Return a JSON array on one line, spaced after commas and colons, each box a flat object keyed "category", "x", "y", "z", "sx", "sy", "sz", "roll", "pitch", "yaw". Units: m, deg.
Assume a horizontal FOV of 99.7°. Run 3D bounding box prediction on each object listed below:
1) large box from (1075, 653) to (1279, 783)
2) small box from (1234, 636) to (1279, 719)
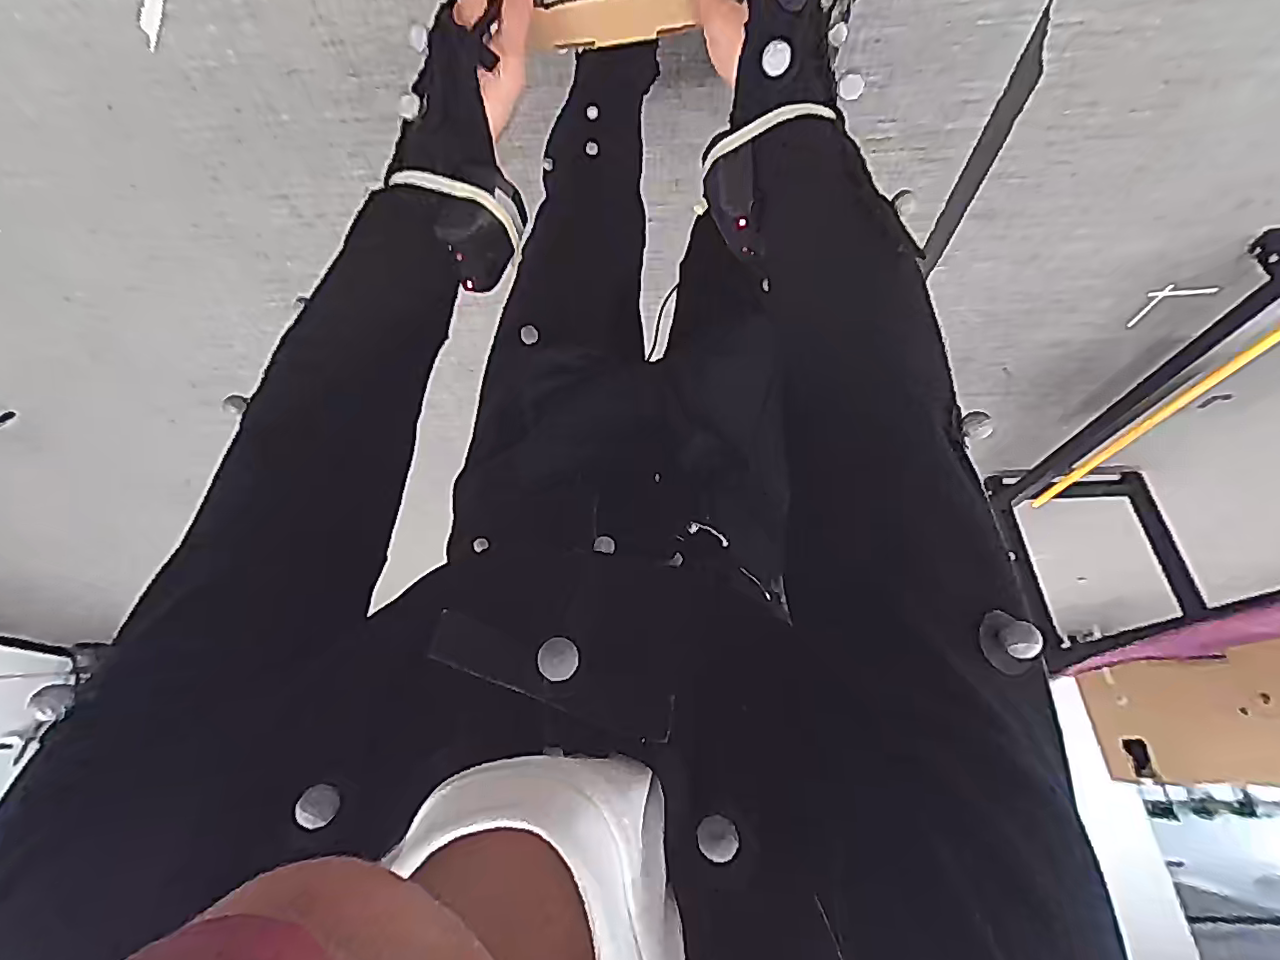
[{"category": "large box", "x": 1.597, "y": 0.682, "z": 1.548, "sx": 0.408, "sy": 0.320, "sz": 0.320, "roll": -3, "pitch": 153, "yaw": 3}, {"category": "small box", "x": 1.558, "y": 0.458, "z": 1.254, "sx": 0.168, "sy": 0.176, "sz": 0.179, "roll": -3, "pitch": 153, "yaw": 4}]
